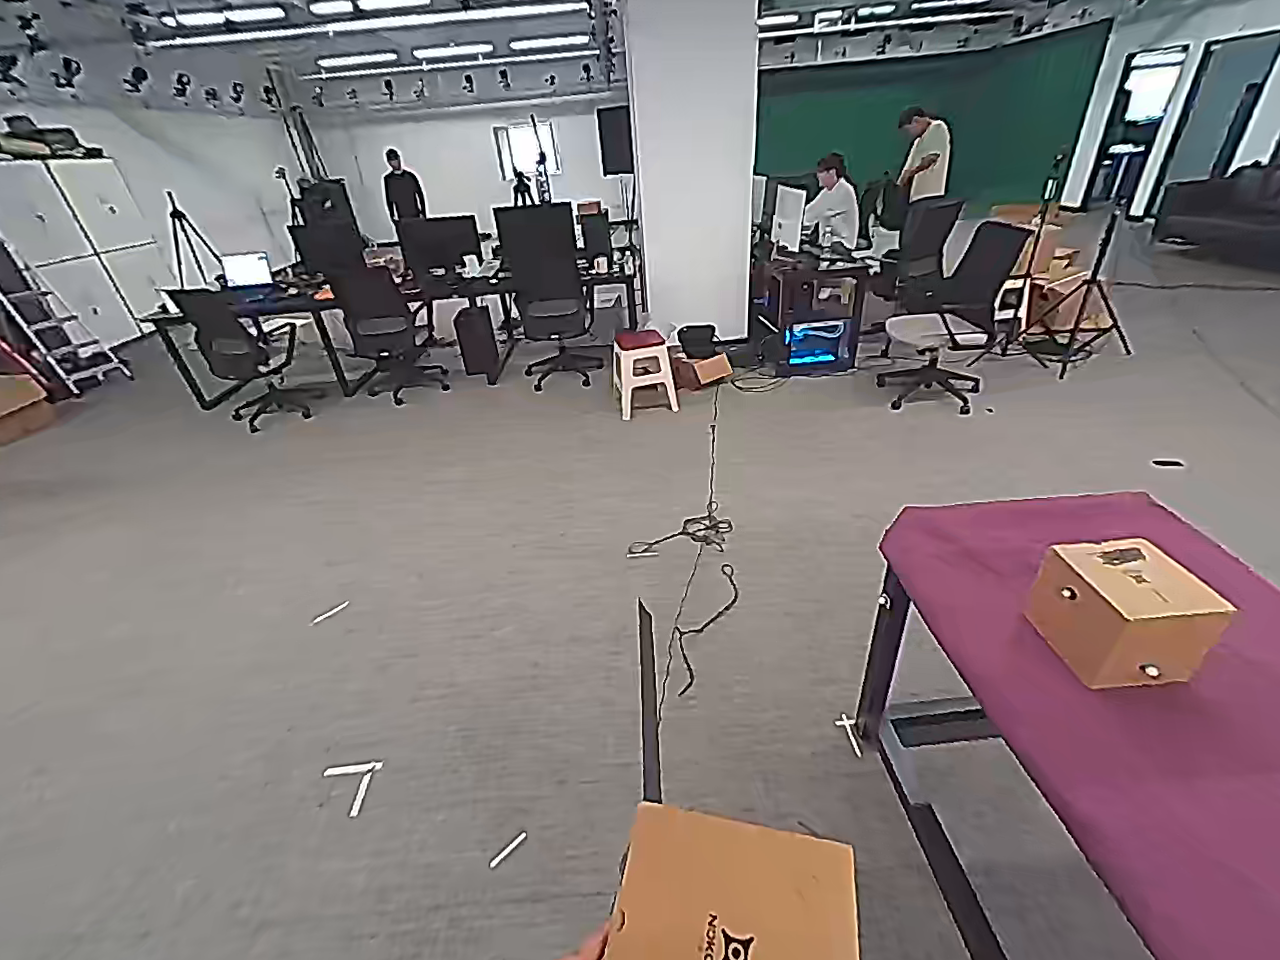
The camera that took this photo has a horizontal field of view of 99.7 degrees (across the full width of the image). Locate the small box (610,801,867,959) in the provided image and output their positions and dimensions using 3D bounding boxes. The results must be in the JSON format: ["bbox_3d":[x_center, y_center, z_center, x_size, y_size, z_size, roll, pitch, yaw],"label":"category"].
[{"bbox_3d":[0.076,0.390,0.430,0.179,0.176,0.168,3,41,14],"label":"small box"}]

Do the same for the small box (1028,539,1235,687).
[{"bbox_3d":[0.810,0.223,0.919,0.168,0.176,0.179,-5,33,1],"label":"small box"}]
